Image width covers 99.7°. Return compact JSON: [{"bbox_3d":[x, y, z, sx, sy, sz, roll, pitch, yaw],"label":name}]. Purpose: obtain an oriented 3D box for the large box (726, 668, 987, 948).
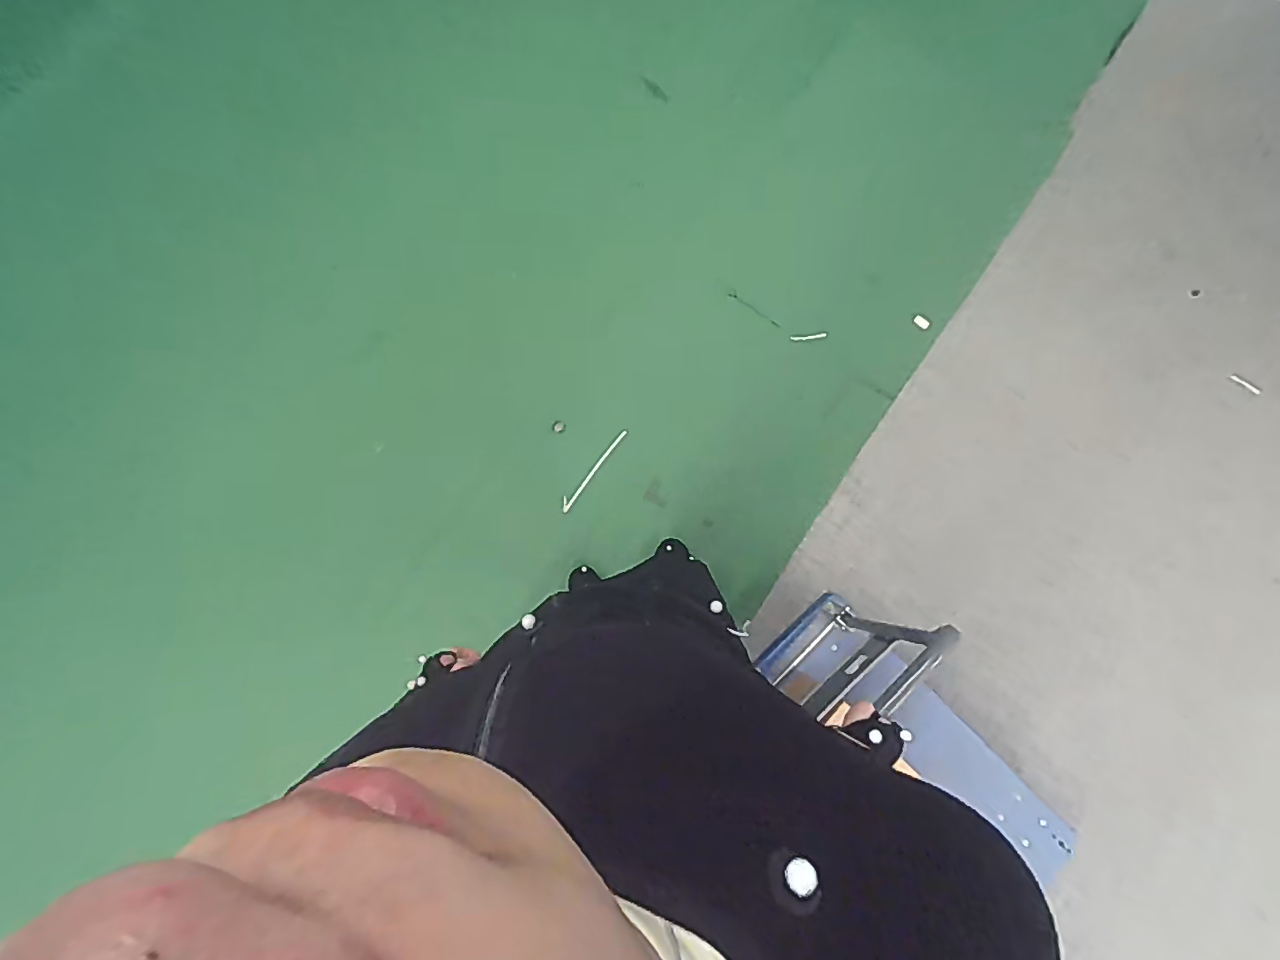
[{"bbox_3d":[0.466,0.715,1.260,0.408,0.320,0.320,44,84,6],"label":"large box"}]
